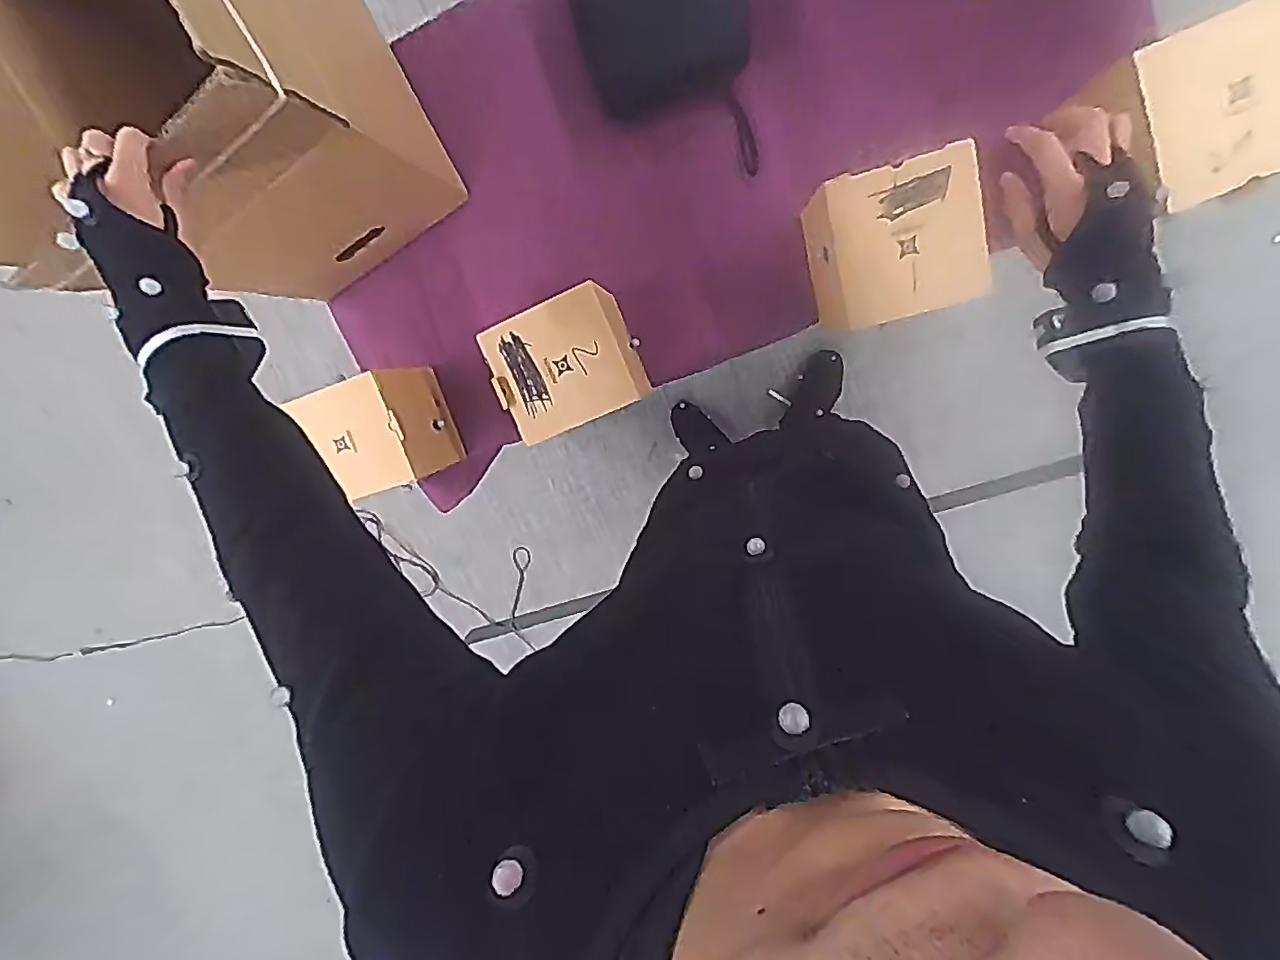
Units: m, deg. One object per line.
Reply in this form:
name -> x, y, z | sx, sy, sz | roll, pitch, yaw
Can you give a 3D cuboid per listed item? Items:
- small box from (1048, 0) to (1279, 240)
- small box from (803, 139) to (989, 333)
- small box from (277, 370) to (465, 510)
small box -> 0.626, -0.412, 0.636 | 0.168, 0.176, 0.179 | -19, 100, 13
small box -> 0.321, -0.300, 0.707 | 0.168, 0.176, 0.179 | -13, 102, 11
small box -> -0.413, -0.069, 0.860 | 0.179, 0.176, 0.168 | -18, 100, 10
